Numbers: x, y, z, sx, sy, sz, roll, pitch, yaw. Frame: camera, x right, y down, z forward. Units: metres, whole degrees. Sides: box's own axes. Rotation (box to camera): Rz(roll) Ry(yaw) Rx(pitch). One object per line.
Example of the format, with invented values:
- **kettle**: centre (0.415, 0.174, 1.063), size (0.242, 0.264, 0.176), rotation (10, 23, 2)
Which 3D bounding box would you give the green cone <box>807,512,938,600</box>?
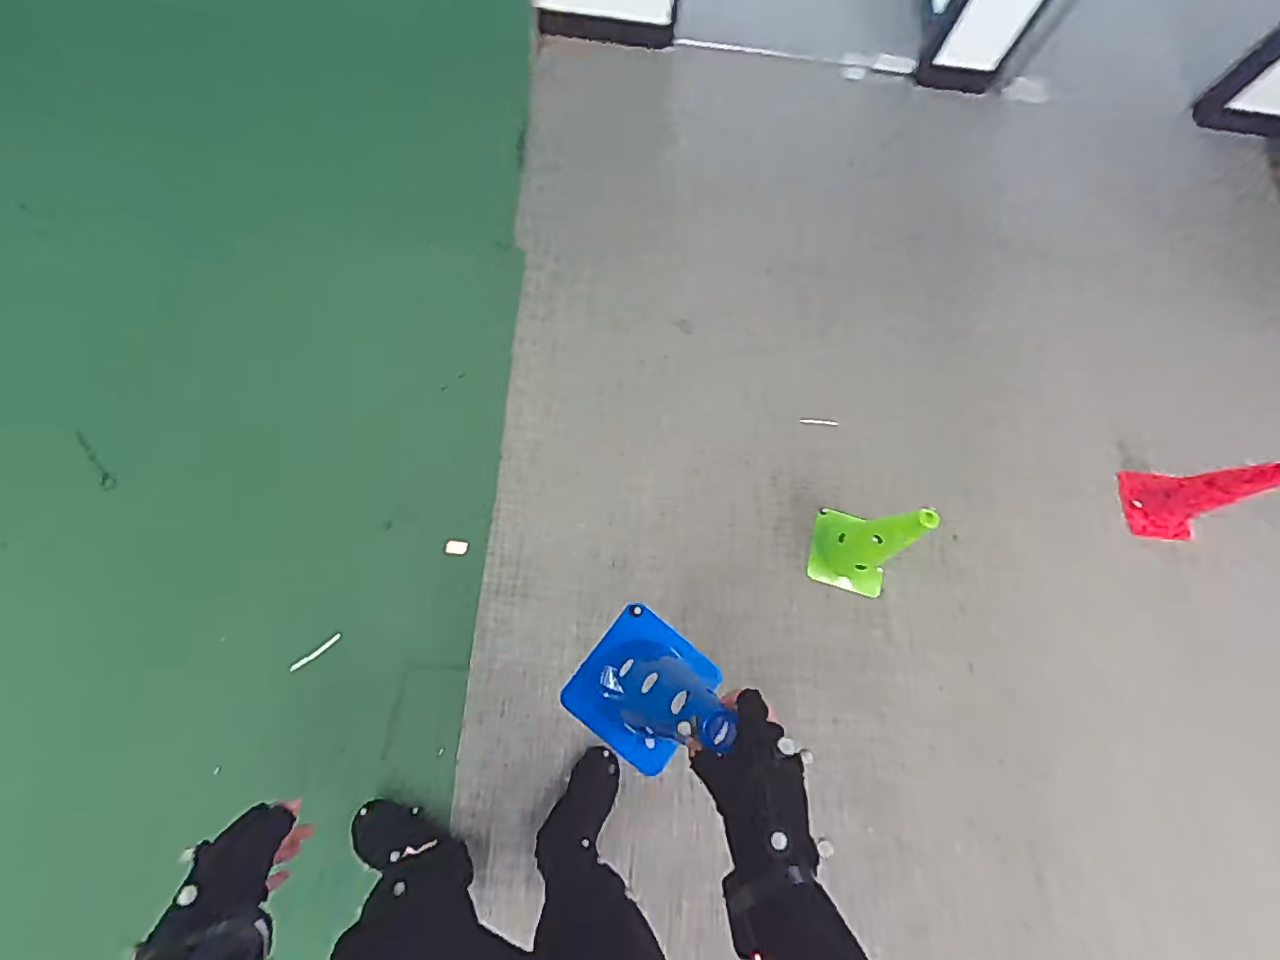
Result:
- **green cone**: centre (0.566, 0.145, 1.273), size (0.202, 0.368, 0.200), rotation (16, 70, -1)
